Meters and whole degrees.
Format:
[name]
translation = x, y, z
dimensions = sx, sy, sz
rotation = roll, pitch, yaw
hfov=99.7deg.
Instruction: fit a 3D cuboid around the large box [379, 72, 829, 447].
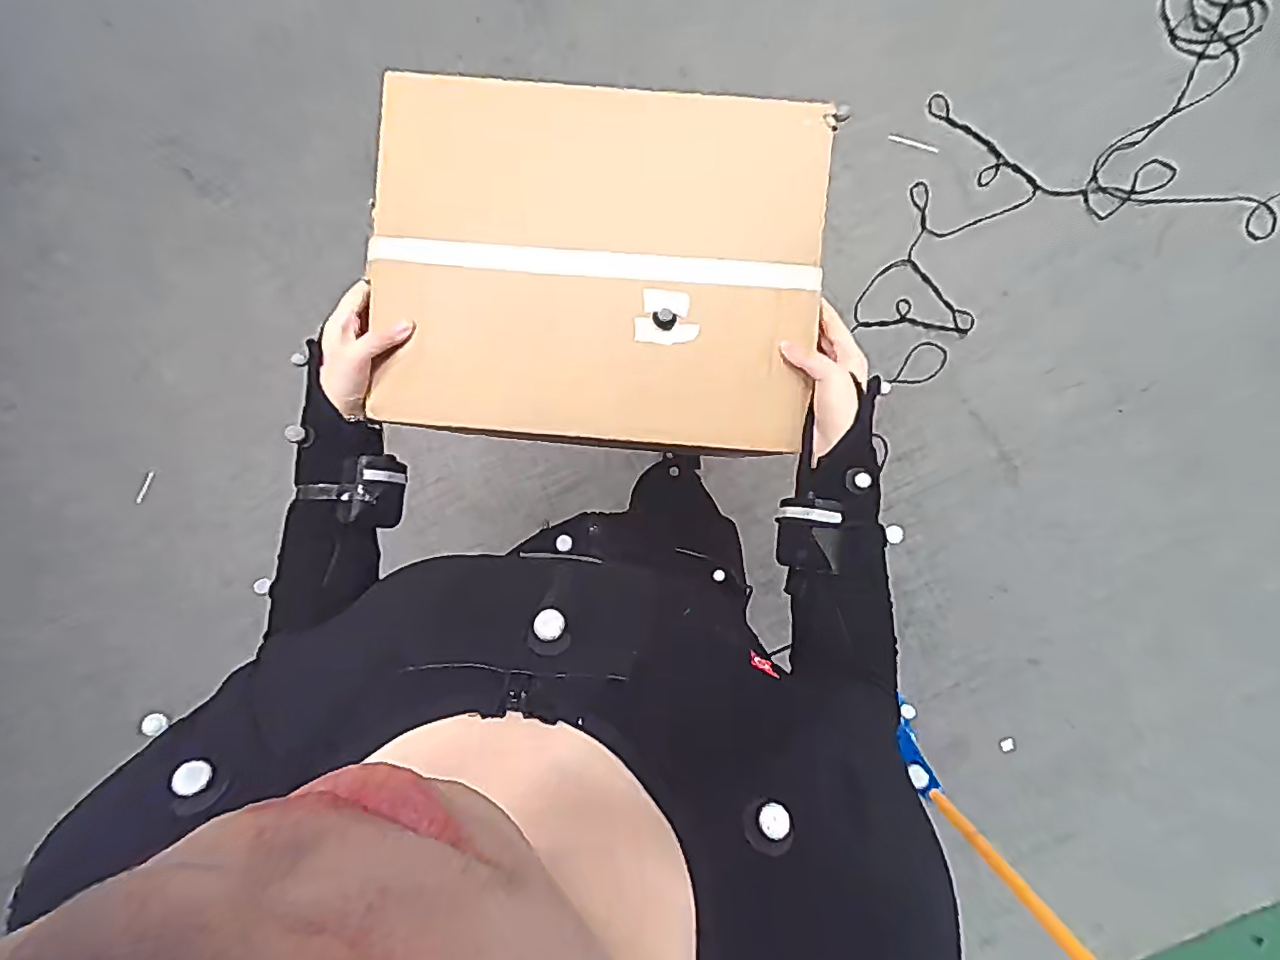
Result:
[large box]
translation = -0.038, -0.209, 0.645
dimensions = 0.408, 0.320, 0.320
rotation = 5, 92, -1
